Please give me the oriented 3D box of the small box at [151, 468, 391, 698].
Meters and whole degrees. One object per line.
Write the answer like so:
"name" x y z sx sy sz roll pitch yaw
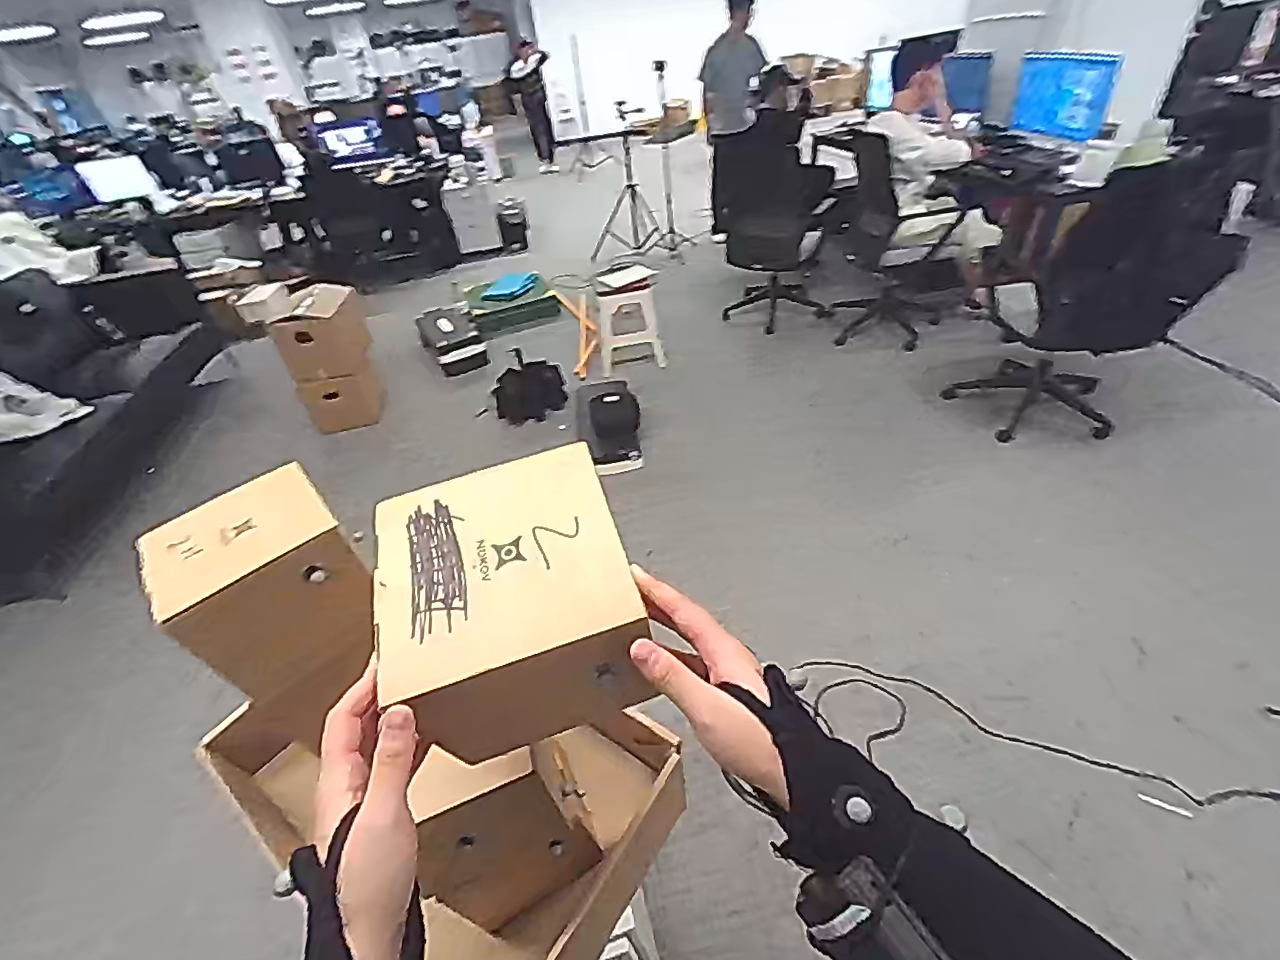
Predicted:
"small box" -0.432 0.121 0.658 0.179 0.176 0.168 -35 47 -25

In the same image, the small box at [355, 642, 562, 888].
"small box" -0.199 0.327 0.626 0.179 0.176 0.168 -20 40 -10

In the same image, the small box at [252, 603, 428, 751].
"small box" -0.429 0.242 0.771 0.168 0.176 0.179 -33 47 -23
